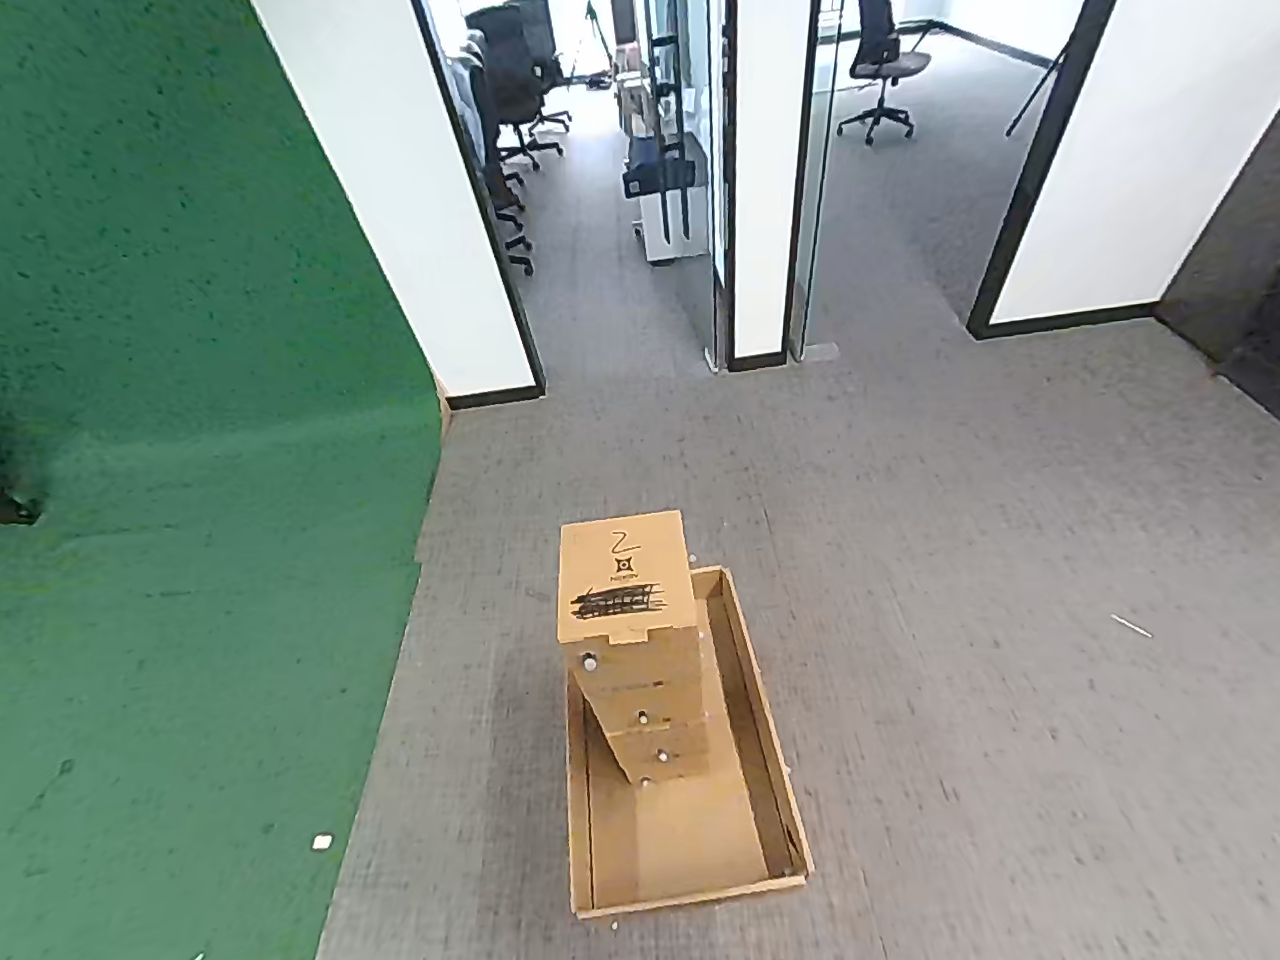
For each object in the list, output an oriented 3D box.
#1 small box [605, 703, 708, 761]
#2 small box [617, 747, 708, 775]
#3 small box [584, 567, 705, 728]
[{"bbox_3d":[0.026,0.378,0.972,0.168,0.176,0.179,-9,47,1],"label":"small box"},{"bbox_3d":[0.043,0.482,1.099,0.168,0.176,0.179,-8,46,1],"label":"small box"},{"bbox_3d":[0.007,0.266,0.857,0.168,0.176,0.179,-9,47,0],"label":"small box"}]
